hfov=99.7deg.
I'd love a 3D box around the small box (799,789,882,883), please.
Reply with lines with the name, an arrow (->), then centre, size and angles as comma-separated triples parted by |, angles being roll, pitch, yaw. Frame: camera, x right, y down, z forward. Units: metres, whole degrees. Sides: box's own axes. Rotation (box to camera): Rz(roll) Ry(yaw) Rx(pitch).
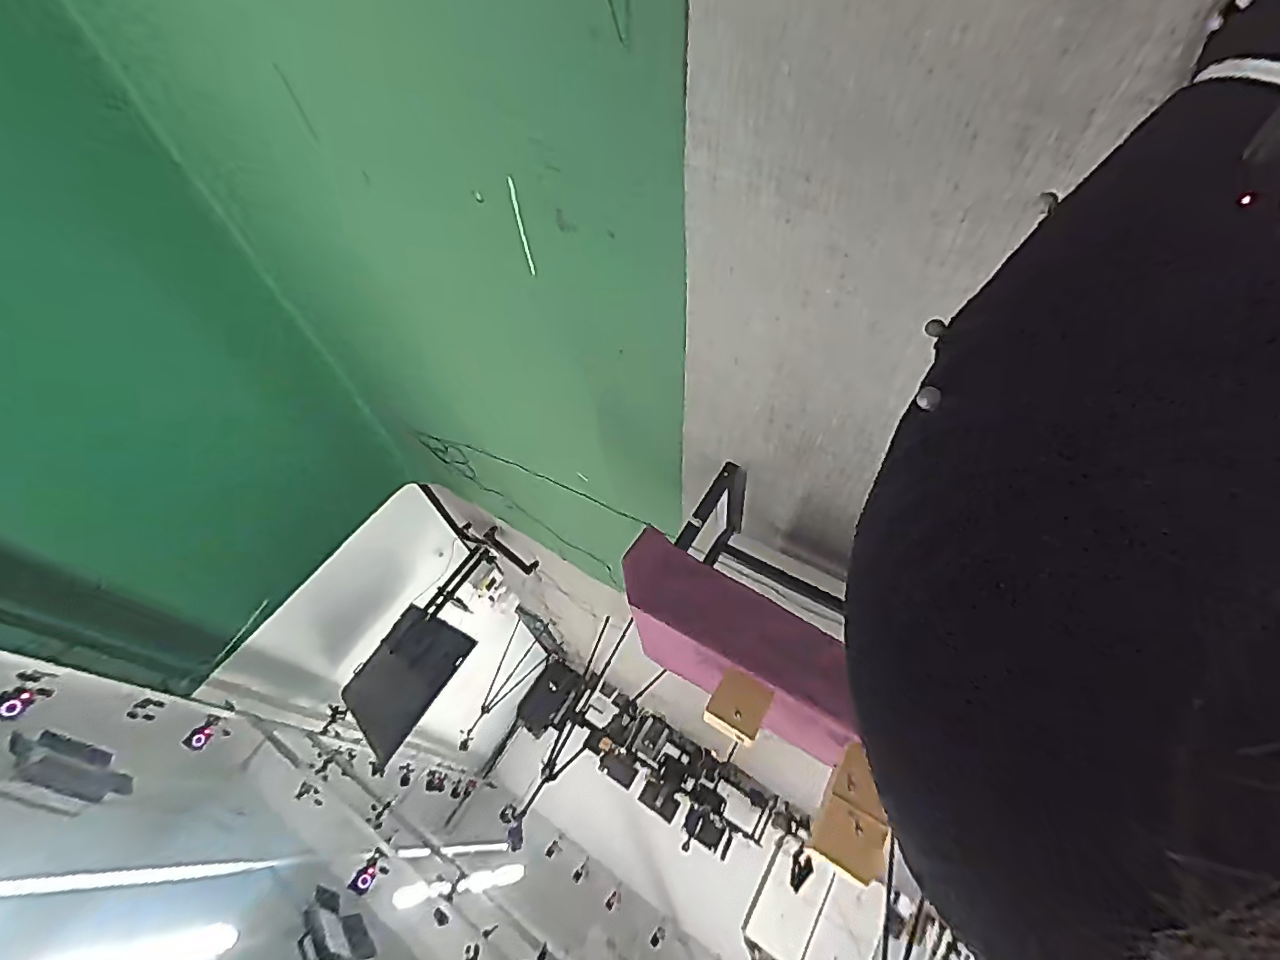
small box -> 0.592, 1.048, 1.600 | 0.168, 0.176, 0.179 | 26, 151, 23

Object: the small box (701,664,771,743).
small box -> 0.323, 0.749, 1.816 | 0.179, 0.176, 0.168 | 27, 153, 21

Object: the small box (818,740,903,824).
small box -> 0.678, 0.927, 1.666 | 0.179, 0.176, 0.168 | 26, 153, 23
